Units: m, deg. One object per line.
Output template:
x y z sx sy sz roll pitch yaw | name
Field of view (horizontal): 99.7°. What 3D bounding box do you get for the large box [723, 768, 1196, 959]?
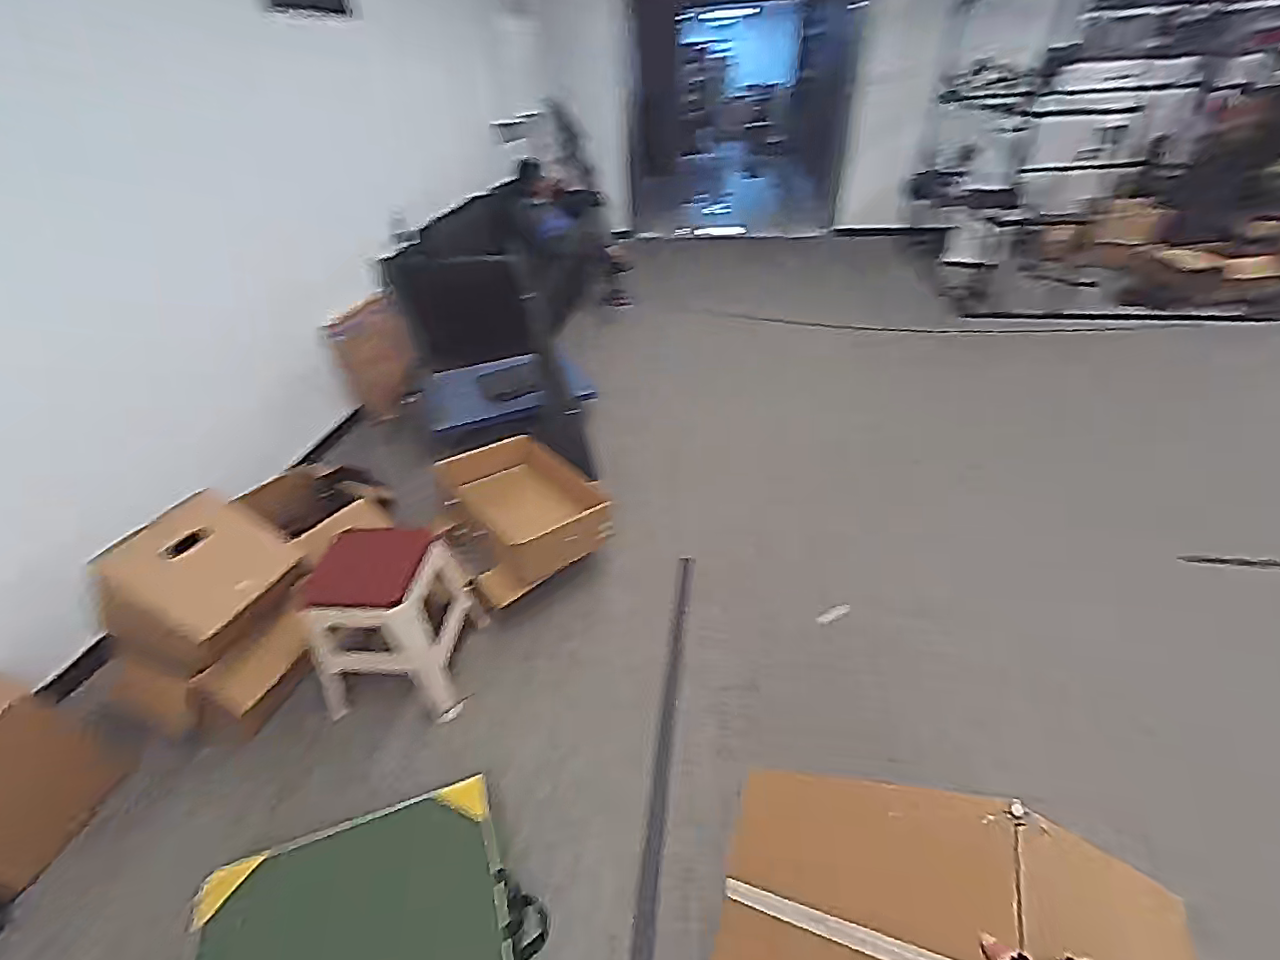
0.364 0.589 0.661 0.320 0.408 0.320 33 58 -18 | large box
